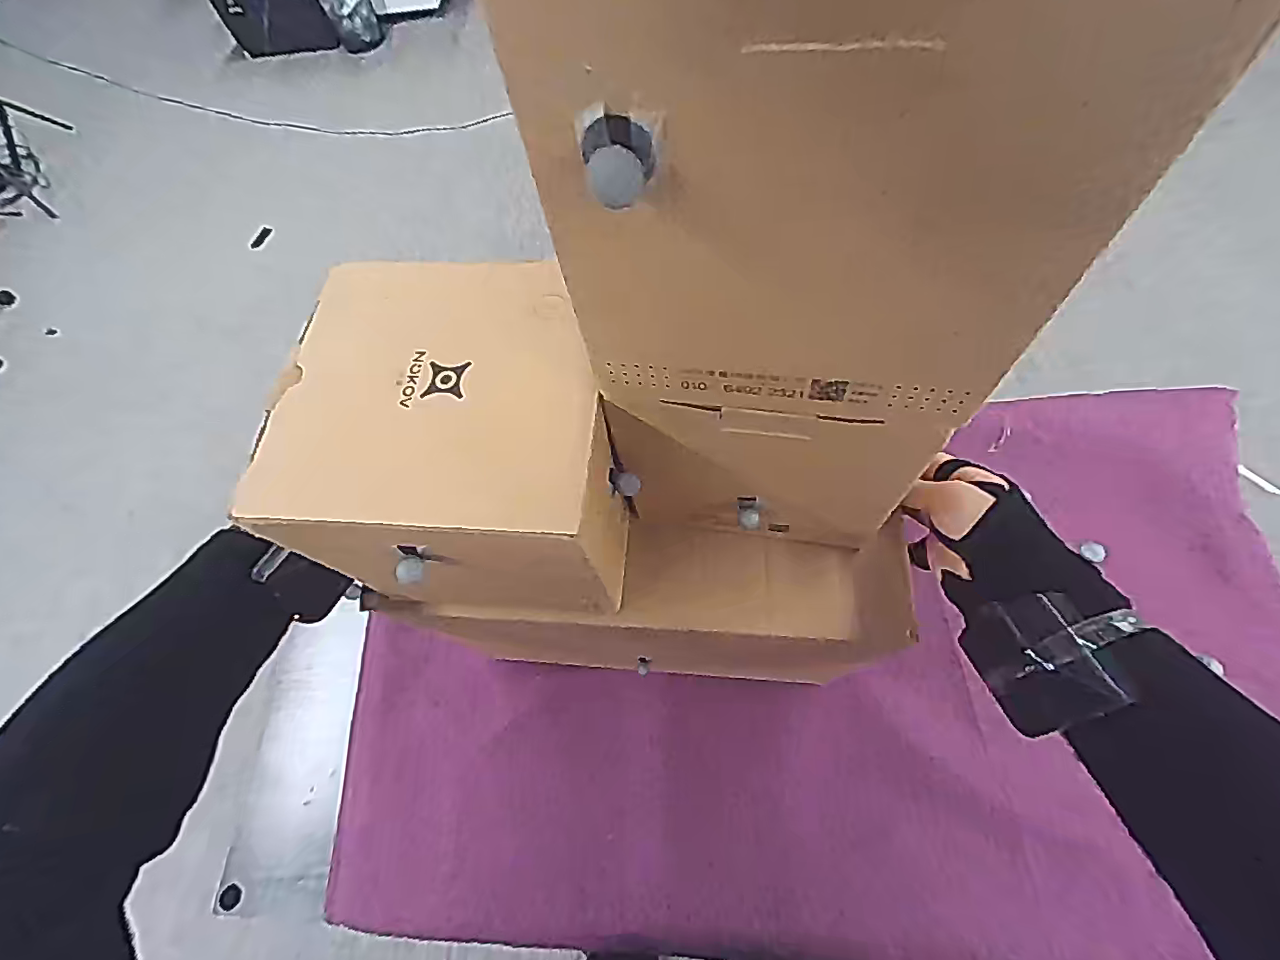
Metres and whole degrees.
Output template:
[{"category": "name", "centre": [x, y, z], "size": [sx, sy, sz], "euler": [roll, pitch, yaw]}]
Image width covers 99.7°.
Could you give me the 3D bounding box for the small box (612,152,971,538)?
[{"category": "small box", "centre": [0.089, -0.080, 0.355], "size": [0.168, 0.176, 0.179], "euler": [6, 65, 11]}]

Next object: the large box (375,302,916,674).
[{"category": "large box", "centre": [0.018, 0.030, 0.585], "size": [0.408, 0.320, 0.320], "euler": [0, 64, 8]}]
